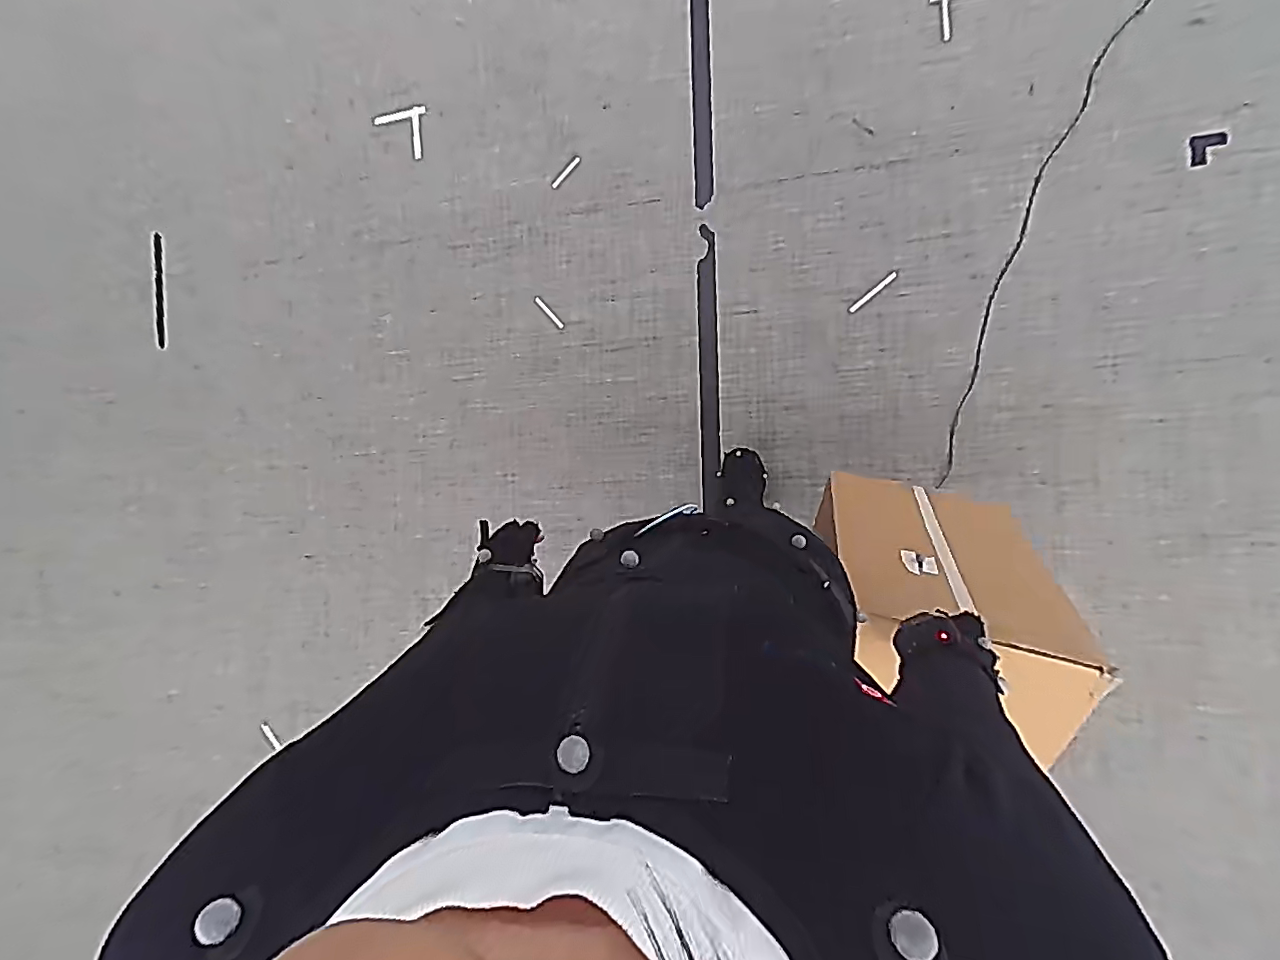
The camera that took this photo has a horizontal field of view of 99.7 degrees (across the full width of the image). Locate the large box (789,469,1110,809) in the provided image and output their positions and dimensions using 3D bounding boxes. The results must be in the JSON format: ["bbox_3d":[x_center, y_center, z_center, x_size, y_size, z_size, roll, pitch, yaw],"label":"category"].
[{"bbox_3d":[0.440,0.232,0.904,0.320,0.408,0.320,12,121,10],"label":"large box"}]
